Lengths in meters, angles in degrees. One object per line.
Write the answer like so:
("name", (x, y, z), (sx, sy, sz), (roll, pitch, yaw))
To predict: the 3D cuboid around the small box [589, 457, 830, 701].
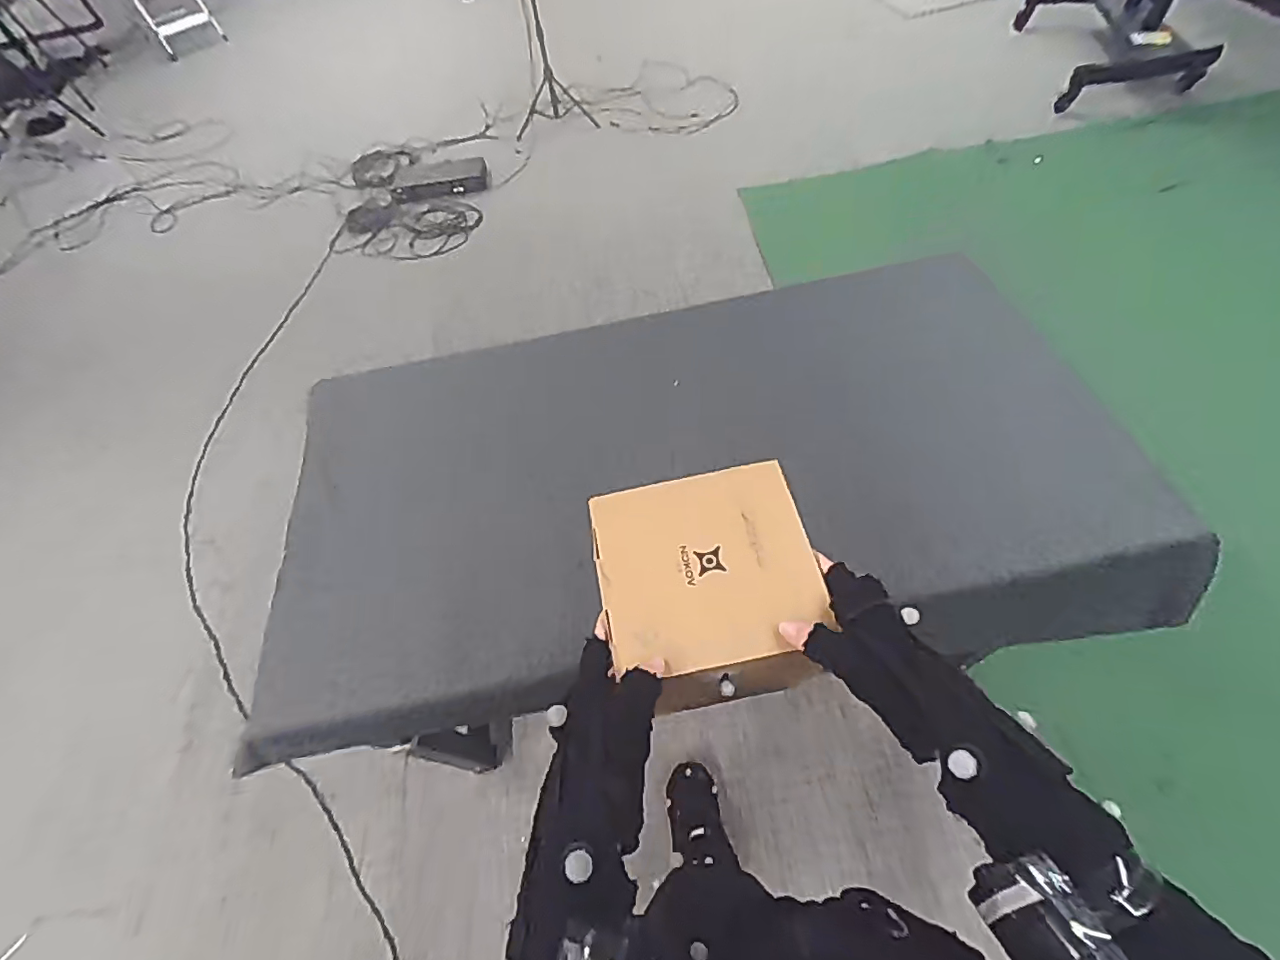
("small box", (0.058, 0.104, 0.528), (0.179, 0.176, 0.168), (-11, 59, -3))
